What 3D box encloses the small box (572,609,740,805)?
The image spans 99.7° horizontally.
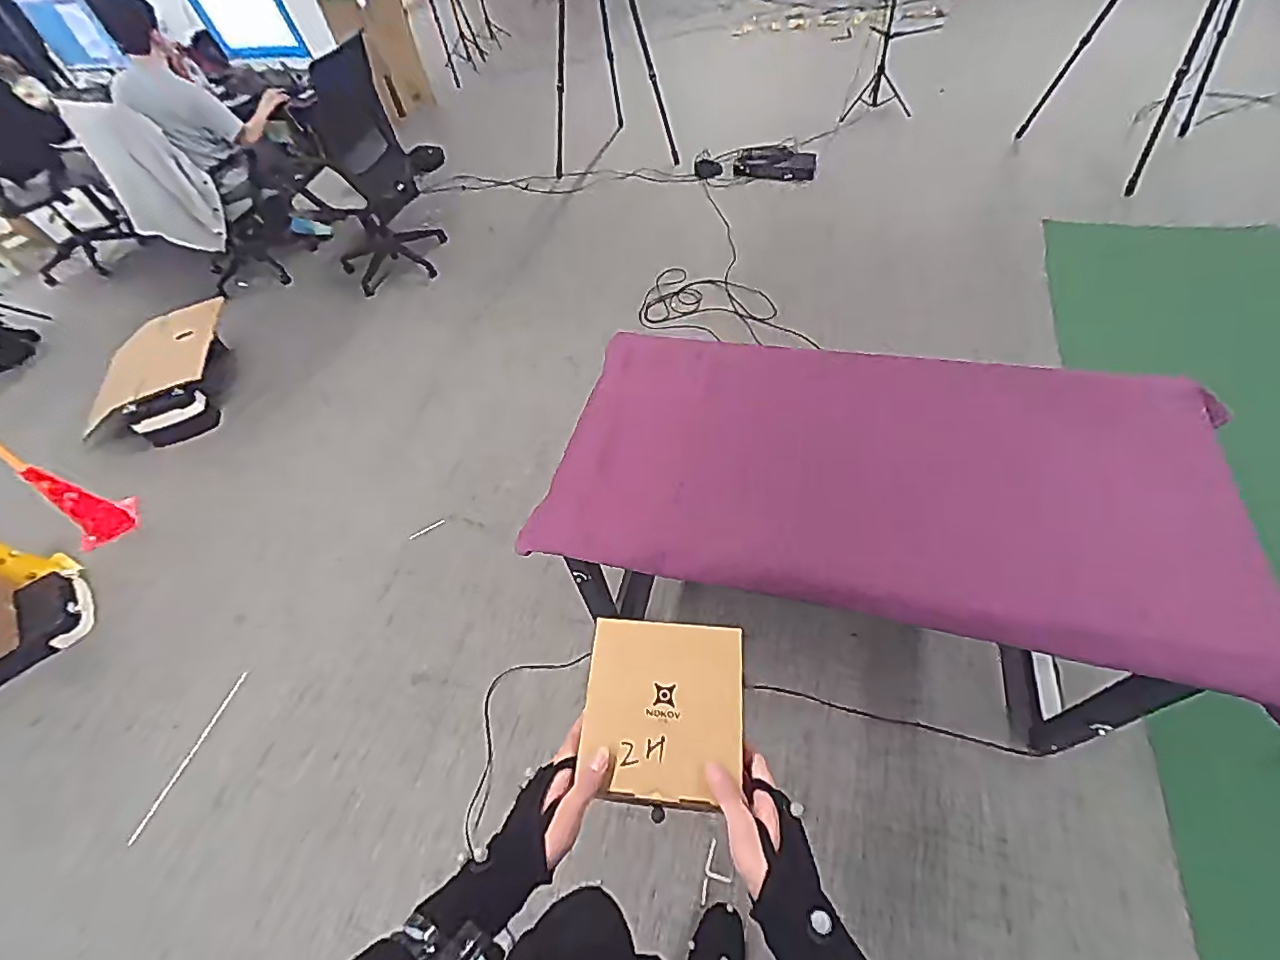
[{"bbox_3d":[0.026,0.270,0.636,0.168,0.176,0.179,3,58,6],"label":"small box"}]
